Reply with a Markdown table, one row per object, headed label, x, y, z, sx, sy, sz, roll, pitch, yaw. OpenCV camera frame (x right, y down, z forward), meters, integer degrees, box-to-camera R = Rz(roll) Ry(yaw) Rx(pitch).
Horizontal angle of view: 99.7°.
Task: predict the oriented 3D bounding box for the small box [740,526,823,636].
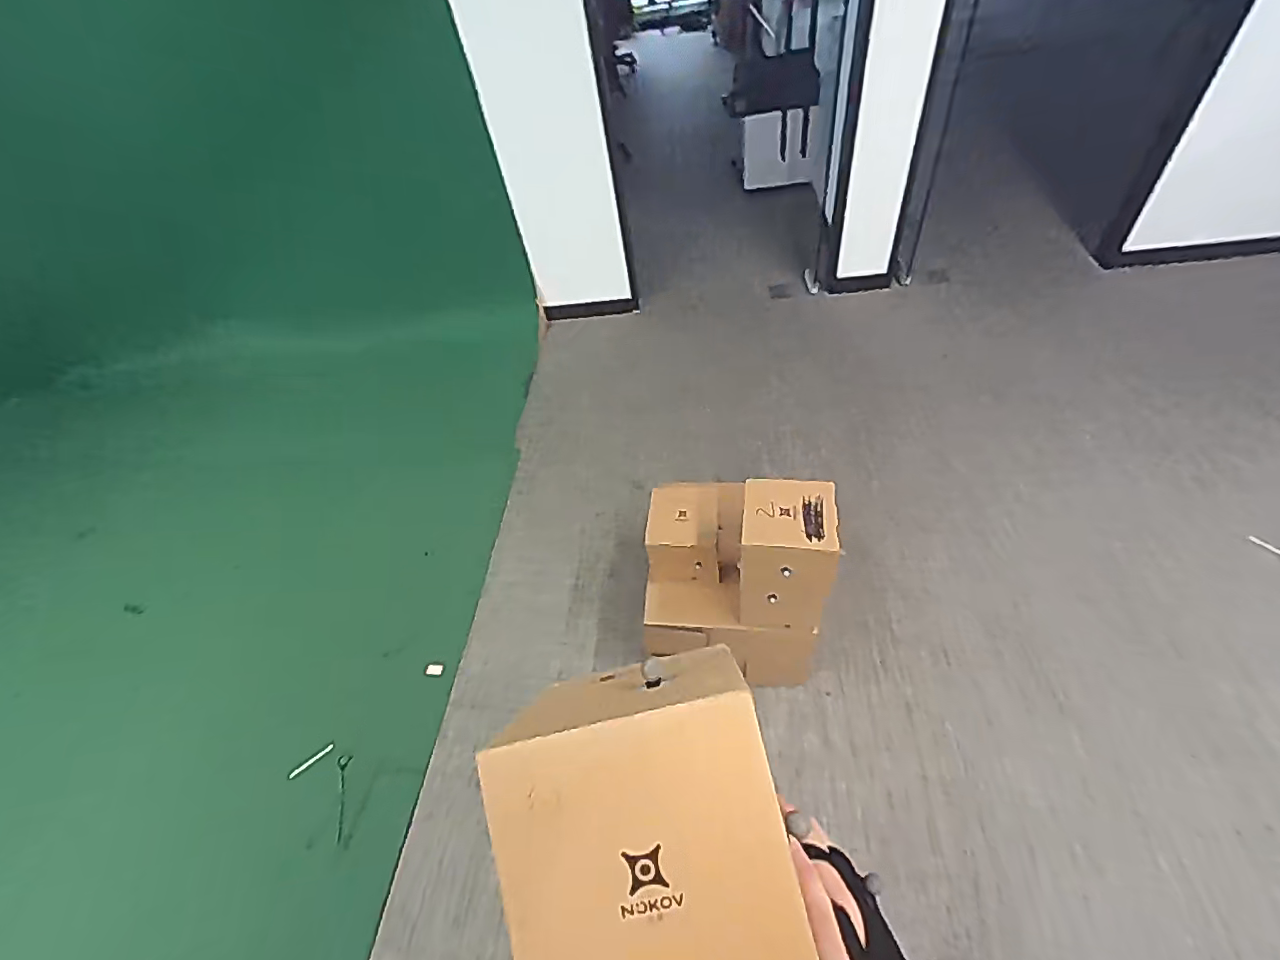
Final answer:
| label | x | y | z | sx | sy | sz | roll | pitch | yaw |
| --- | --- | --- | --- | --- | --- | --- | --- | --- | --- |
| small box | 0.313 | 0.226 | 1.218 | 0.168 | 0.176 | 0.179 | 2 | 47 | 12 |

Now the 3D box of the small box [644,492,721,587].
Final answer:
| label | x | y | z | sx | sy | sz | roll | pitch | yaw |
| --- | --- | --- | --- | --- | --- | --- | --- | --- | --- |
| small box | 0.111 | 0.148 | 1.333 | 0.168 | 0.176 | 0.179 | 0 | 47 | 11 |

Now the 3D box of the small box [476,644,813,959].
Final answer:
| label | x | y | z | sx | sy | sz | roll | pitch | yaw |
| --- | --- | --- | --- | --- | --- | --- | --- | --- | --- |
| small box | 0.004 | 0.225 | 0.384 | 0.168 | 0.176 | 0.179 | -14 | 82 | 2 |
